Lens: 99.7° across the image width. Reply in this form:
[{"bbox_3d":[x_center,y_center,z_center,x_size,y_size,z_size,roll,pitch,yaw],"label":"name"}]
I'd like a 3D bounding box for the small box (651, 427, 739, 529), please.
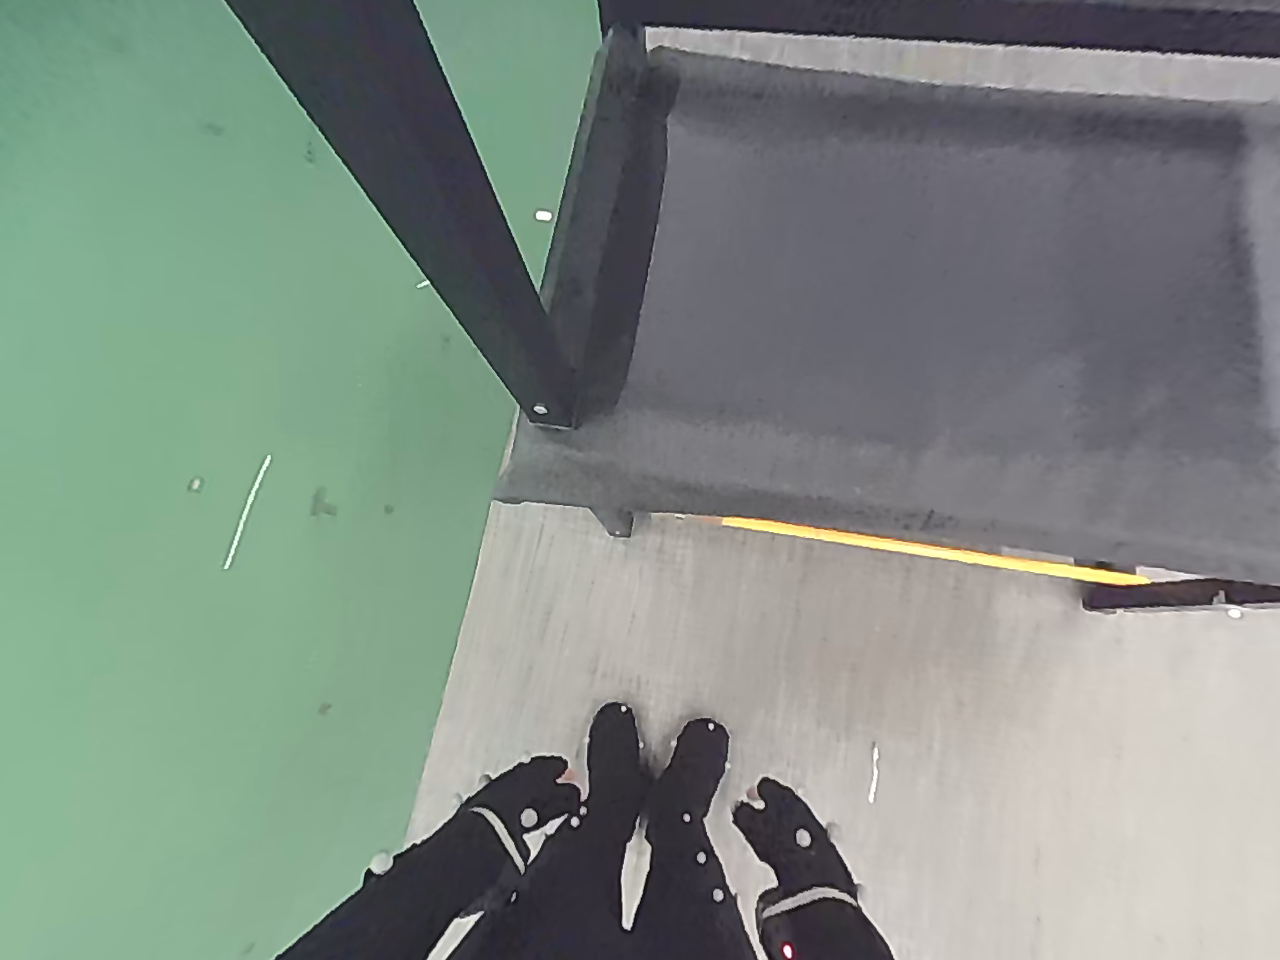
[{"bbox_3d":[0.118,0.001,1.192,0.168,0.176,0.179,7,77,6],"label":"small box"}]
